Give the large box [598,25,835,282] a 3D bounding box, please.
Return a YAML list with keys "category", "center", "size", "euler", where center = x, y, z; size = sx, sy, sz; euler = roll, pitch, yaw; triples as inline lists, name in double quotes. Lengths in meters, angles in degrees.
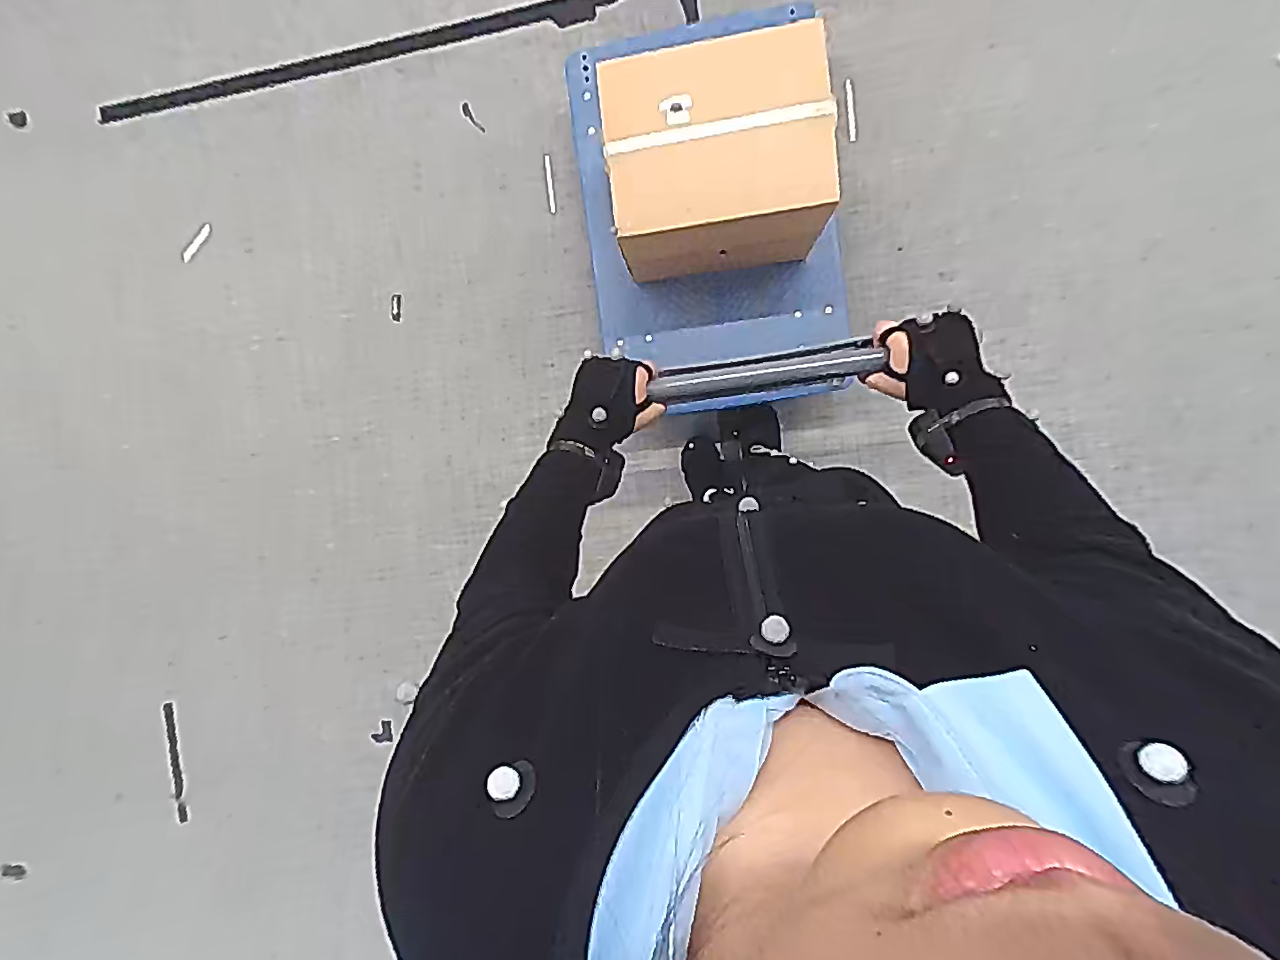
- category: "large box"
  center: [0.156, -0.641, 1.134]
  size: [0.408, 0.320, 0.320]
  euler: [-7, 93, 8]
